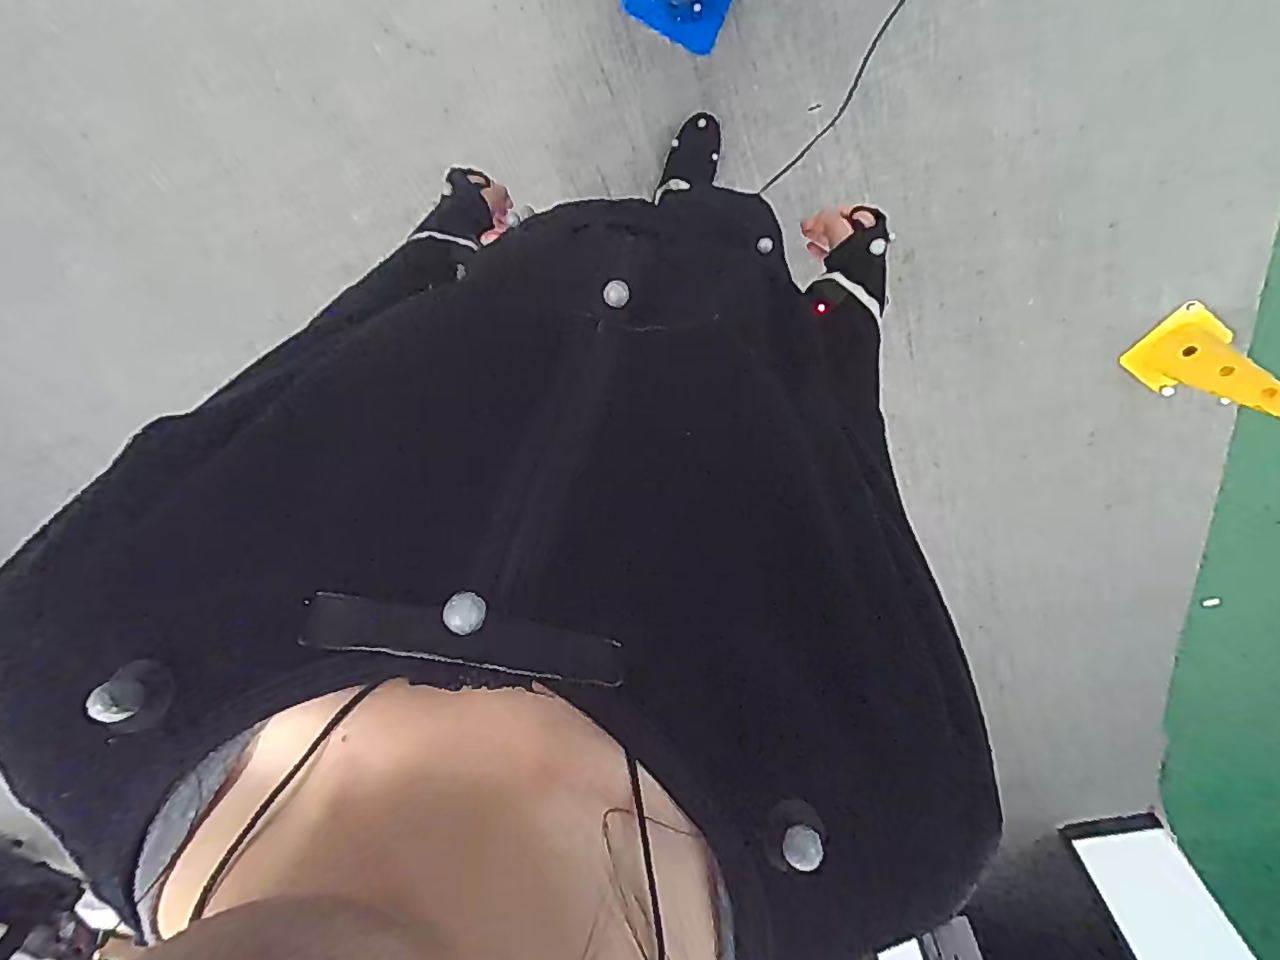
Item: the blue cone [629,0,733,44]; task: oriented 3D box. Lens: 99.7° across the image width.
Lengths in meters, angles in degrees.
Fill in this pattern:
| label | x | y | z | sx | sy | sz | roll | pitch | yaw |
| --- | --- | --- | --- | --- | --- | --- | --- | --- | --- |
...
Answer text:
| label | x | y | z | sx | sy | sz | roll | pitch | yaw |
| --- | --- | --- | --- | --- | --- | --- | --- | --- | --- |
| blue cone | 0.079 | -0.842 | 0.864 | 0.193 | 0.380 | 0.192 | 20 | 126 | -10 |
